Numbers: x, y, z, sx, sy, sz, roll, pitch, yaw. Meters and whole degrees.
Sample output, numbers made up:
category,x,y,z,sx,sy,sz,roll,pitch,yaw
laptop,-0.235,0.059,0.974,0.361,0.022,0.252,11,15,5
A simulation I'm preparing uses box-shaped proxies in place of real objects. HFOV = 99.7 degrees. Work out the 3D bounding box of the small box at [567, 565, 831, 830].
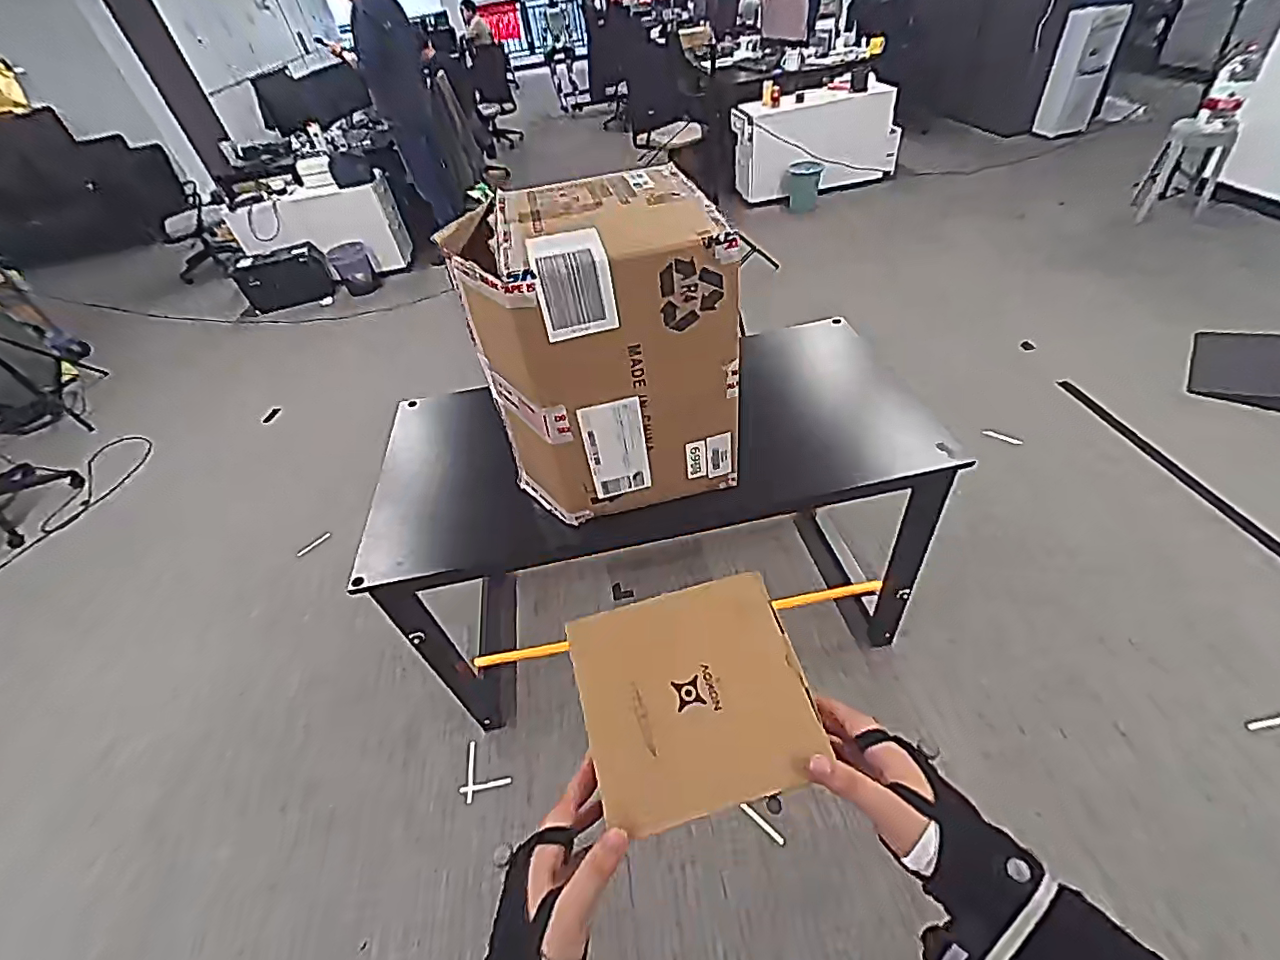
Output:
category,x,y,z,sx,sy,sz,roll,pitch,yaw
small box,0.044,0.204,0.503,0.179,0.176,0.168,-16,58,-6
